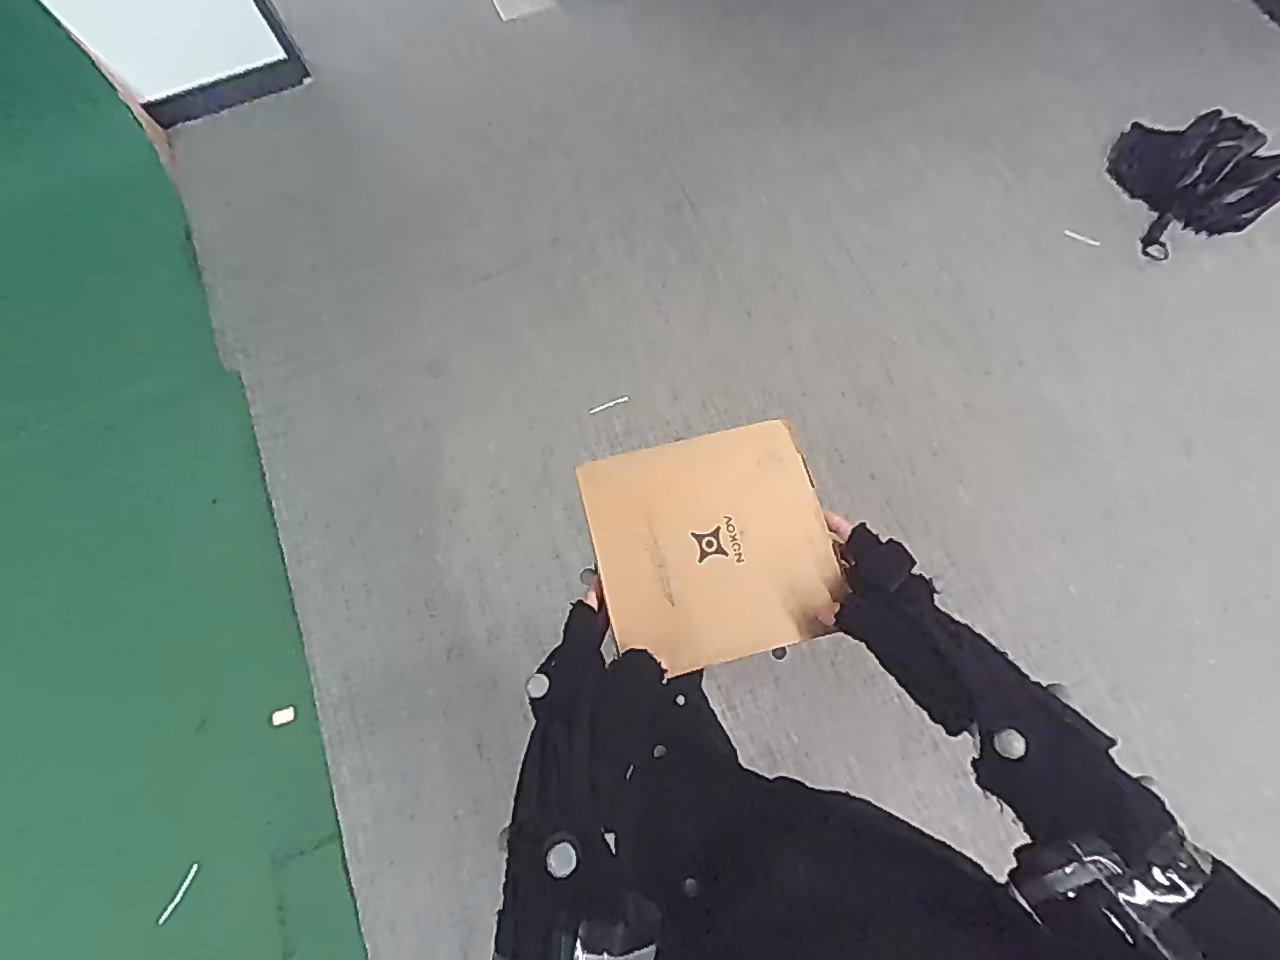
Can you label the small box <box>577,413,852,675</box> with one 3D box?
[{"bbox_3d":[0.051,0.062,0.482,0.179,0.176,0.168,-14,75,-4],"label":"small box"}]
